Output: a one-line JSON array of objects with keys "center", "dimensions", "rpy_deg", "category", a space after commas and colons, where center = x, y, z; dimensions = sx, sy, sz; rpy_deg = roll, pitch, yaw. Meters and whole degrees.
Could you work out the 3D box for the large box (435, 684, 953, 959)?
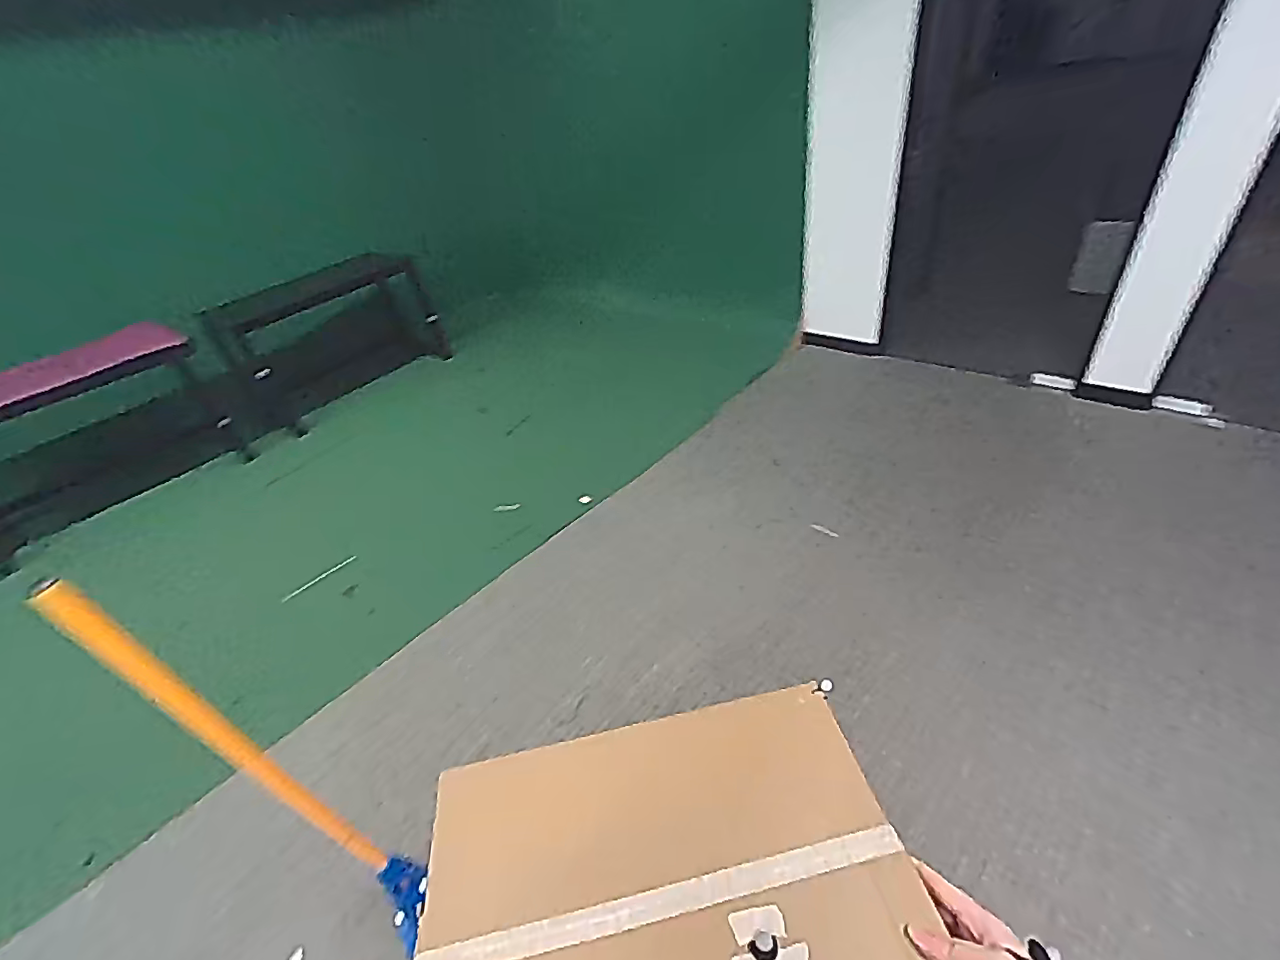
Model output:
[{"center": [0.038, 0.467, 0.544], "dimensions": [0.408, 0.320, 0.320], "rpy_deg": [-10, 37, -5], "category": "large box"}]
